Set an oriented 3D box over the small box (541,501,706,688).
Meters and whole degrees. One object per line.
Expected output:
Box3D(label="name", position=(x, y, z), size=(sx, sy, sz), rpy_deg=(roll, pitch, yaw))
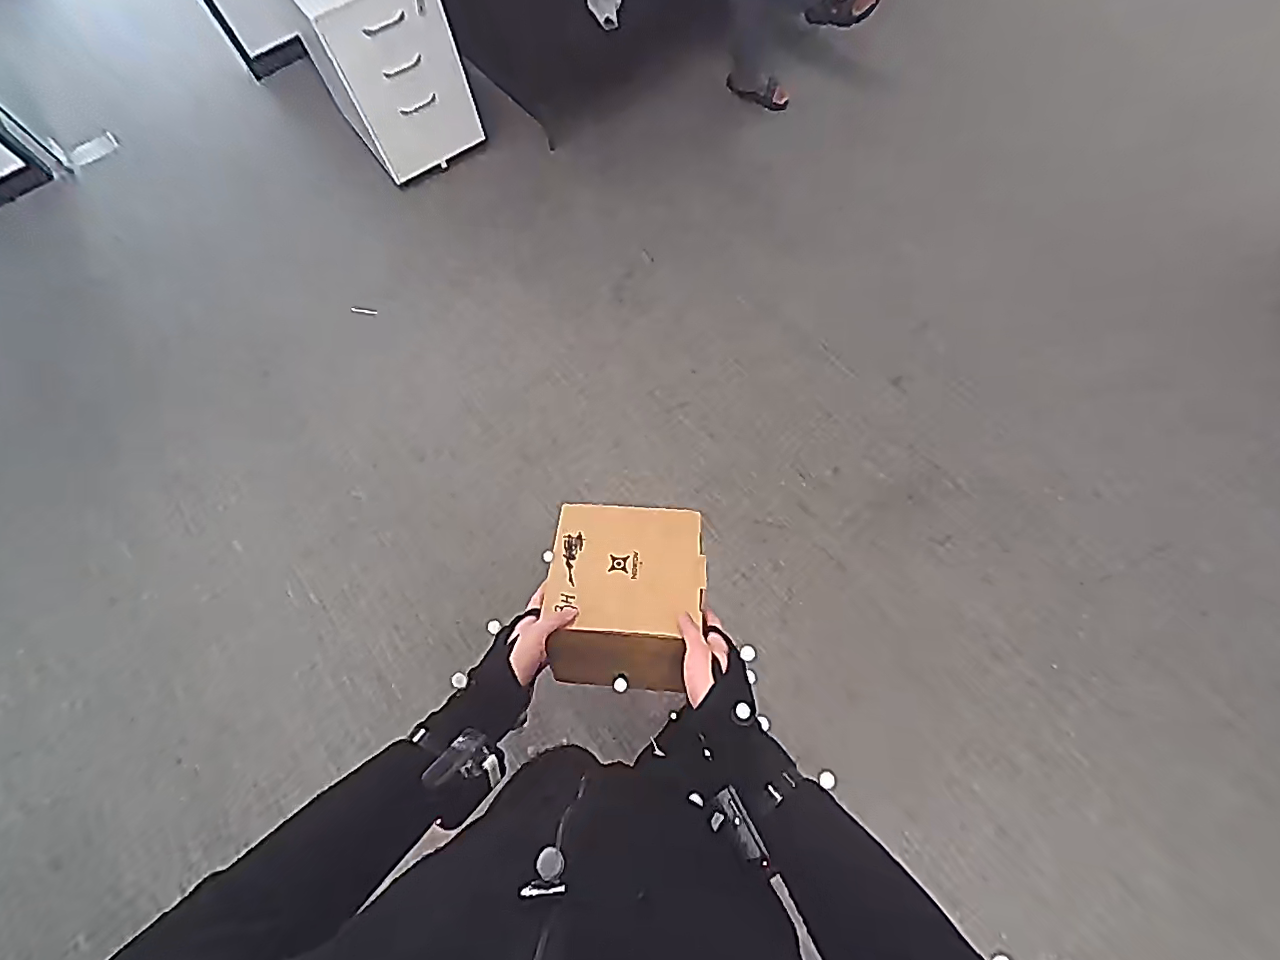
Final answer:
Box3D(label="small box", position=(-0.016, 0.148, 0.680), size=(0.179, 0.176, 0.168), rpy_deg=(5, 49, 1))
